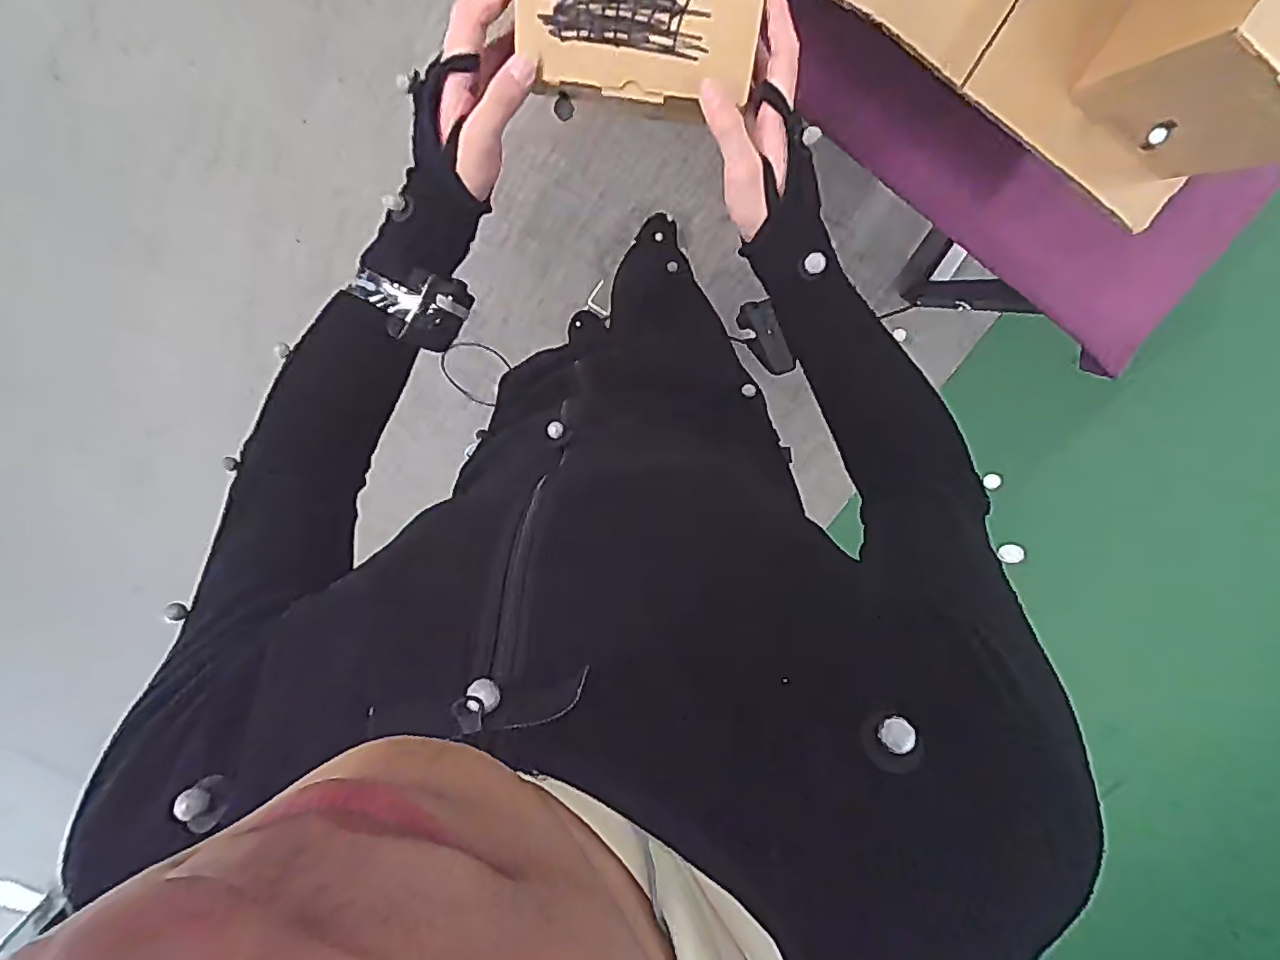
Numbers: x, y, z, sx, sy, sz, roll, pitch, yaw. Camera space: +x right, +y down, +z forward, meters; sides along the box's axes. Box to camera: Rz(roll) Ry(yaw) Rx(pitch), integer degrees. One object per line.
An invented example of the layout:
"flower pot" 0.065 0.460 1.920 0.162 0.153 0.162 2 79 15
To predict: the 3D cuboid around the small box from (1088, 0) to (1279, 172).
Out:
"small box" 0.577 -0.417 0.489 0.168 0.176 0.179 27 107 -12
